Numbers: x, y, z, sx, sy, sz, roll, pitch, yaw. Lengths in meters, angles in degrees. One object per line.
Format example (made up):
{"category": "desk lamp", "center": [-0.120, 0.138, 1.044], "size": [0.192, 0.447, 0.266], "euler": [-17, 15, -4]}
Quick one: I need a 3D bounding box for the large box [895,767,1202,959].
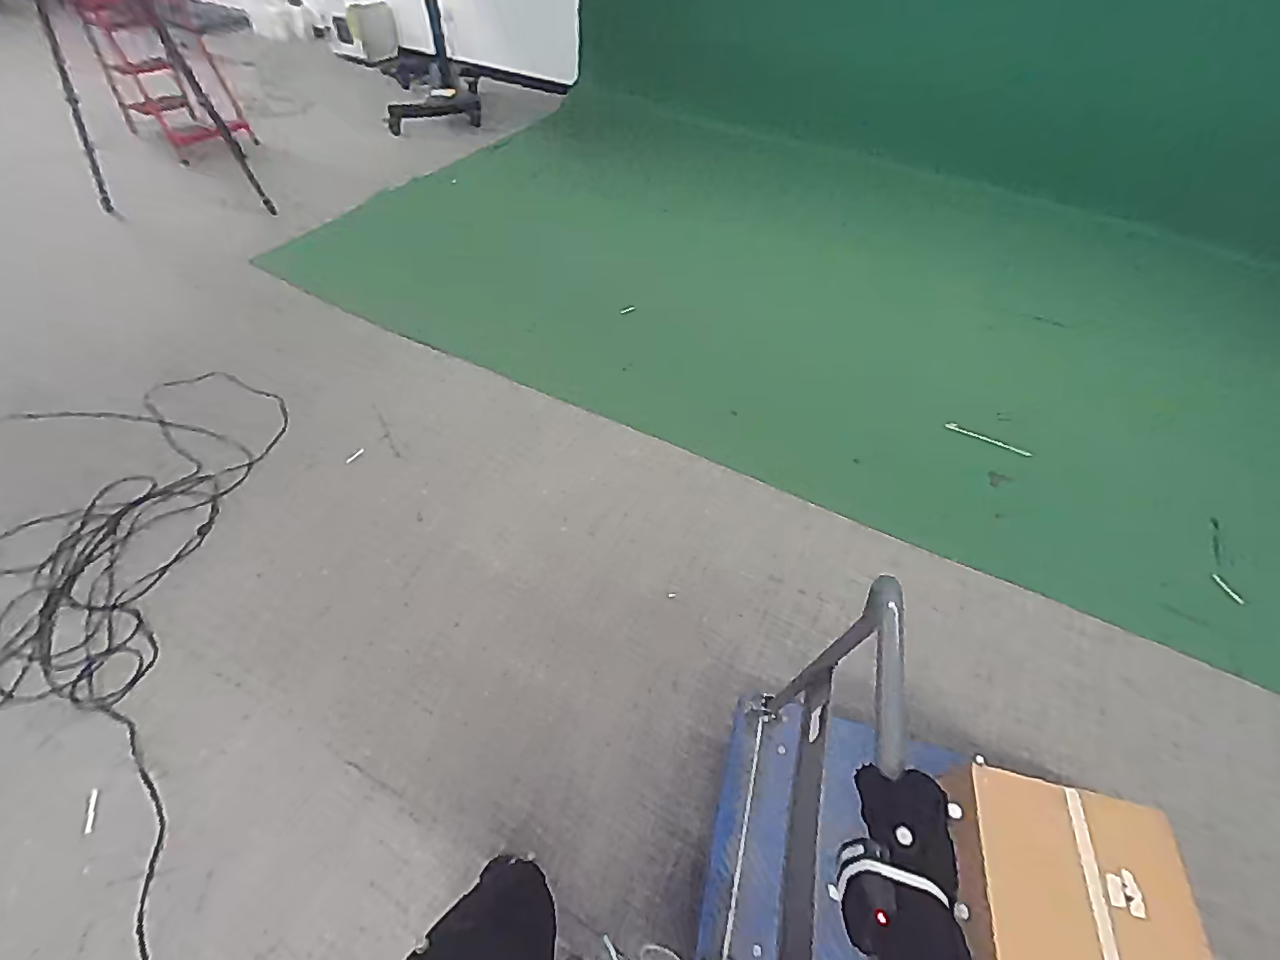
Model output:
{"category": "large box", "center": [0.647, 0.763, 0.893], "size": [0.320, 0.320, 0.408], "euler": [13, 50, 6]}
